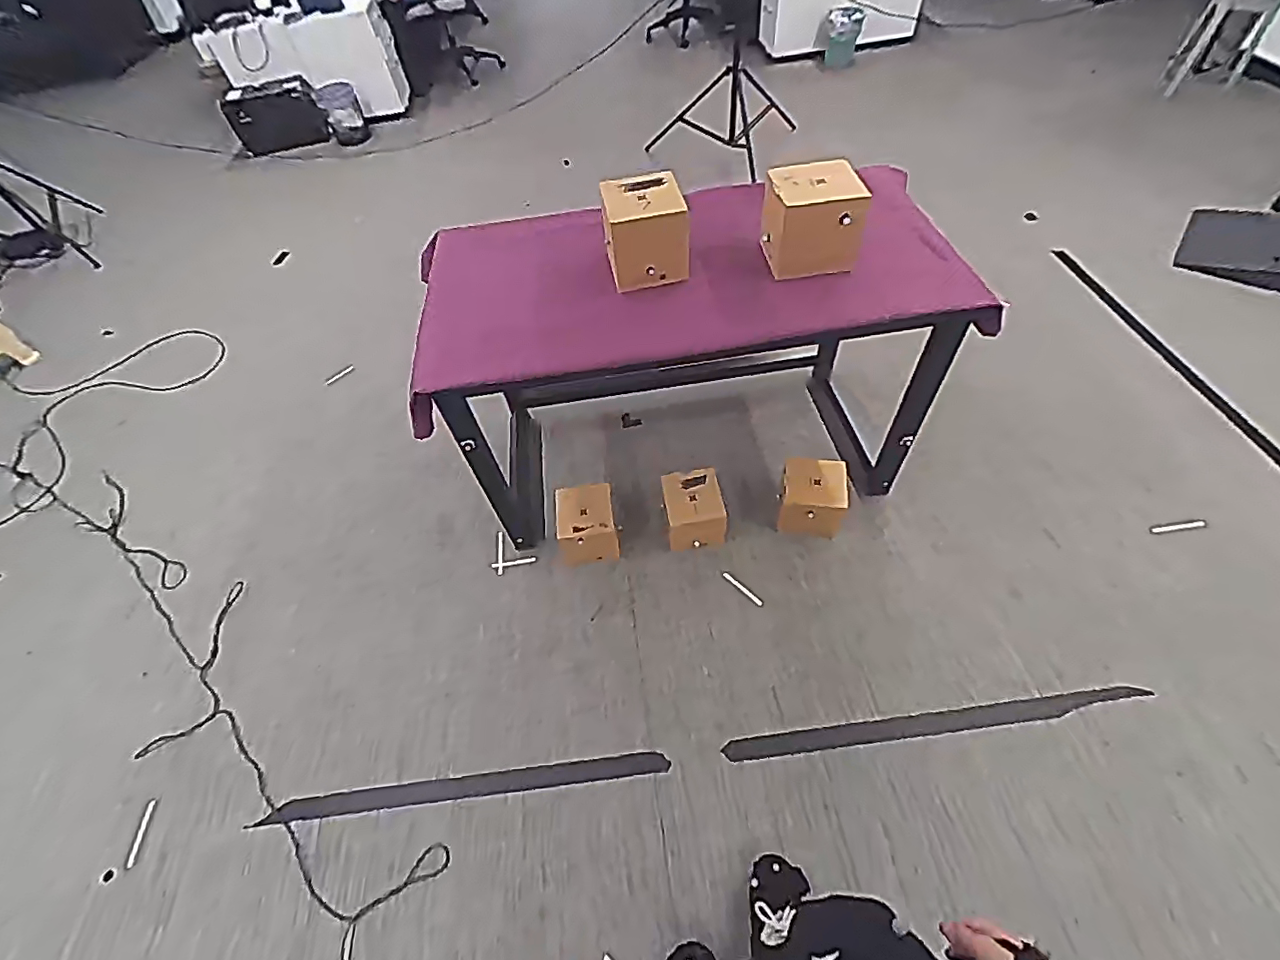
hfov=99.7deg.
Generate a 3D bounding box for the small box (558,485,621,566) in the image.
[{"bbox_3d":[-0.152,0.139,1.635,0.168,0.176,0.179,-7,52,1],"label":"small box"}]

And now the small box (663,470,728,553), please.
[{"bbox_3d":[0.162,0.097,1.631,0.168,0.176,0.179,-9,55,0],"label":"small box"}]

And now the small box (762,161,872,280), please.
[{"bbox_3d":[0.376,-0.564,1.183,0.179,0.176,0.168,-8,53,1],"label":"small box"}]

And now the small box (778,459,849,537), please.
[{"bbox_3d":[0.517,0.057,1.624,0.179,0.176,0.168,4,55,11],"label":"small box"}]
